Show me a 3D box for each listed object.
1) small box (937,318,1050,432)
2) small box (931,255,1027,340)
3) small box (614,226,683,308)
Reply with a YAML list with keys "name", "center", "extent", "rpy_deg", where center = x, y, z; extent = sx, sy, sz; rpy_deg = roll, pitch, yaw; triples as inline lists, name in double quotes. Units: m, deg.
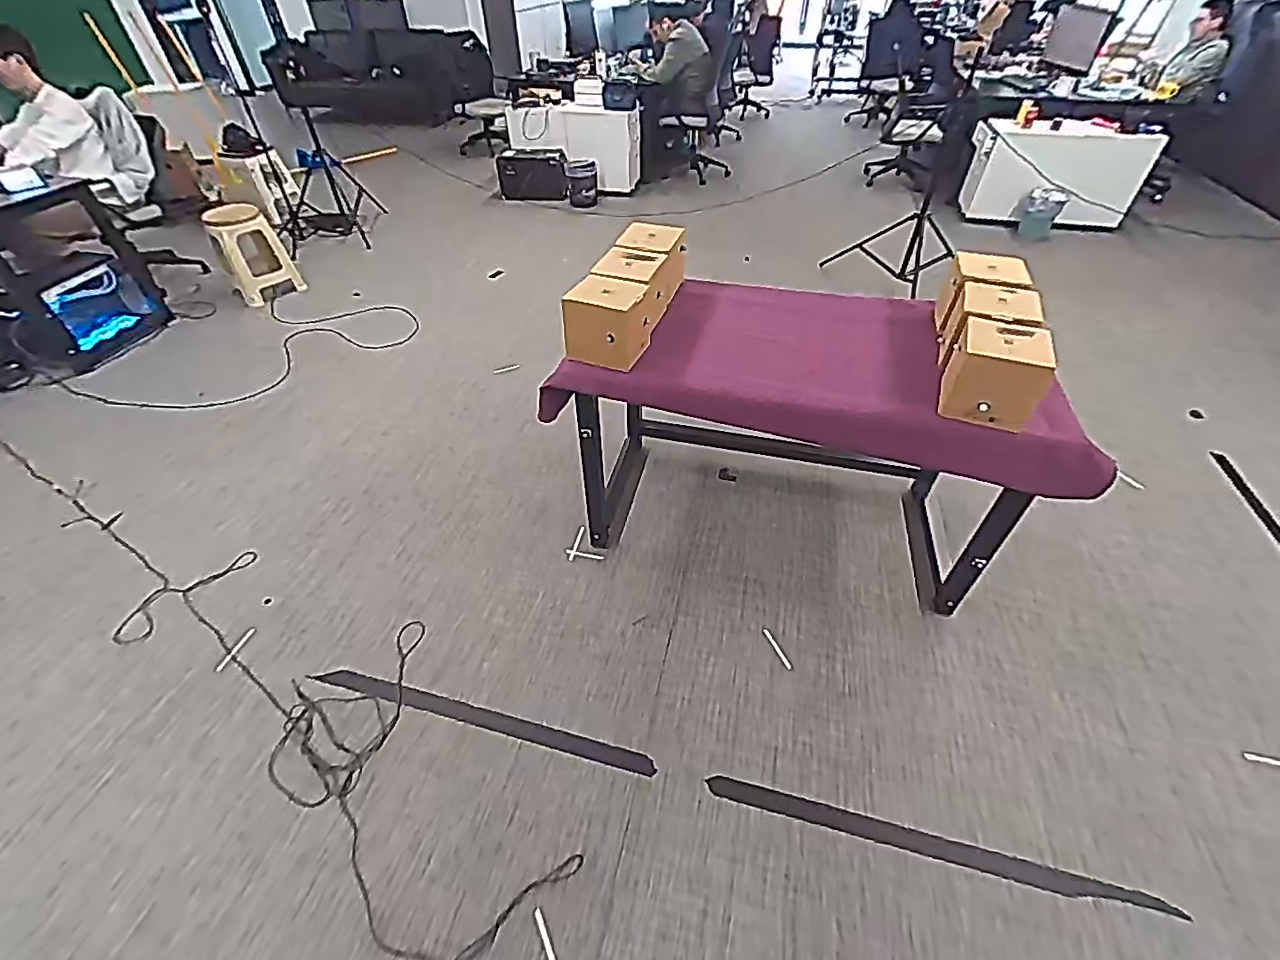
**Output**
- name: "small box"
  center: [0.791, -0.237, 1.219]
  extent: [0.168, 0.176, 0.179]
  rpy_deg: [17, 51, 21]
- name: "small box"
  center: [0.916, -0.492, 1.480]
  extent: [0.168, 0.176, 0.179]
  rpy_deg: [13, 45, 13]
- name: "small box"
  center: [0.026, -0.650, 1.645]
  extent: [0.168, 0.176, 0.179]
  rpy_deg: [13, 47, 13]
